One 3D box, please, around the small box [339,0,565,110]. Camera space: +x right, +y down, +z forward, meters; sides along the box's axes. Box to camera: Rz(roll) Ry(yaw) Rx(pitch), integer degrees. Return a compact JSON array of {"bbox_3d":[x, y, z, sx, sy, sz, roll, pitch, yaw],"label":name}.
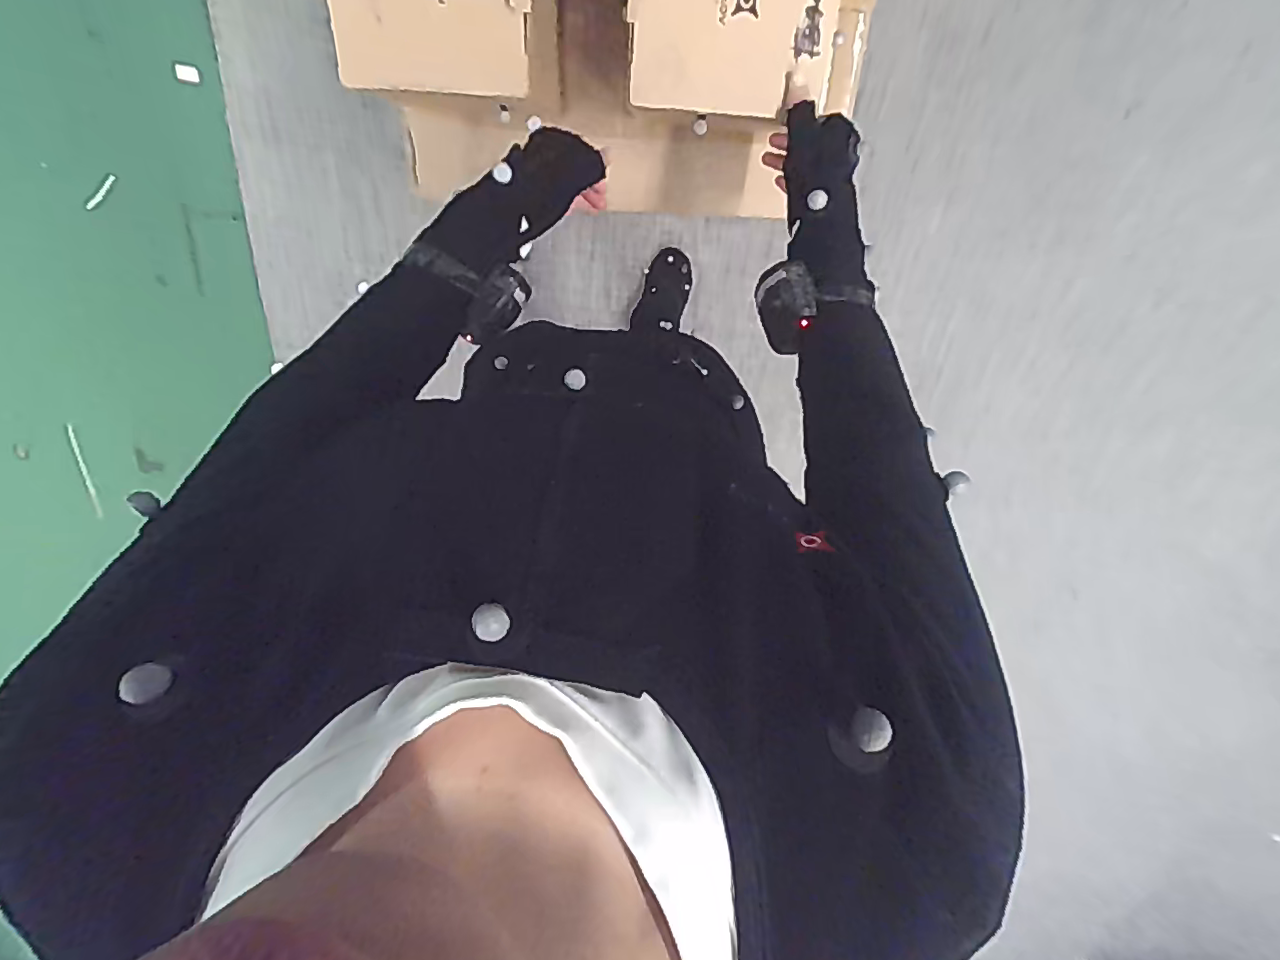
[{"bbox_3d":[-0.171,-0.471,0.527,0.179,0.176,0.168,4,118,3],"label":"small box"}]
